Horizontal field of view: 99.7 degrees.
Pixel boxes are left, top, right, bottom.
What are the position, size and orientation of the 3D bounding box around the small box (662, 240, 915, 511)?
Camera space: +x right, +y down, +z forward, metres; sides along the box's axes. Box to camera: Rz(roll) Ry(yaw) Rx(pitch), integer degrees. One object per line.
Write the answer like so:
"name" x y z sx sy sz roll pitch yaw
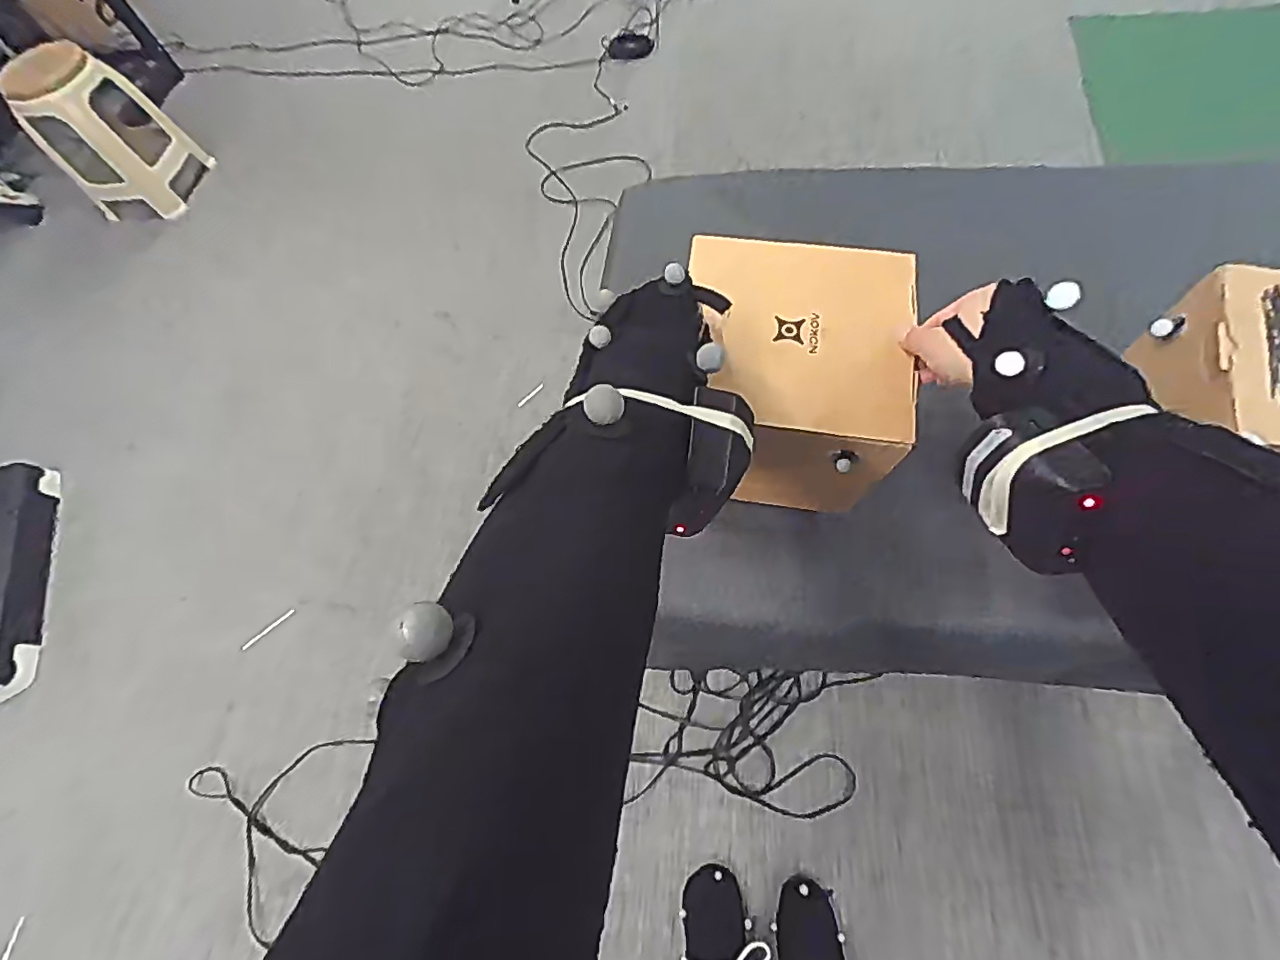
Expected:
"small box" 0.118 -0.080 0.476 0.179 0.176 0.168 8 70 6
